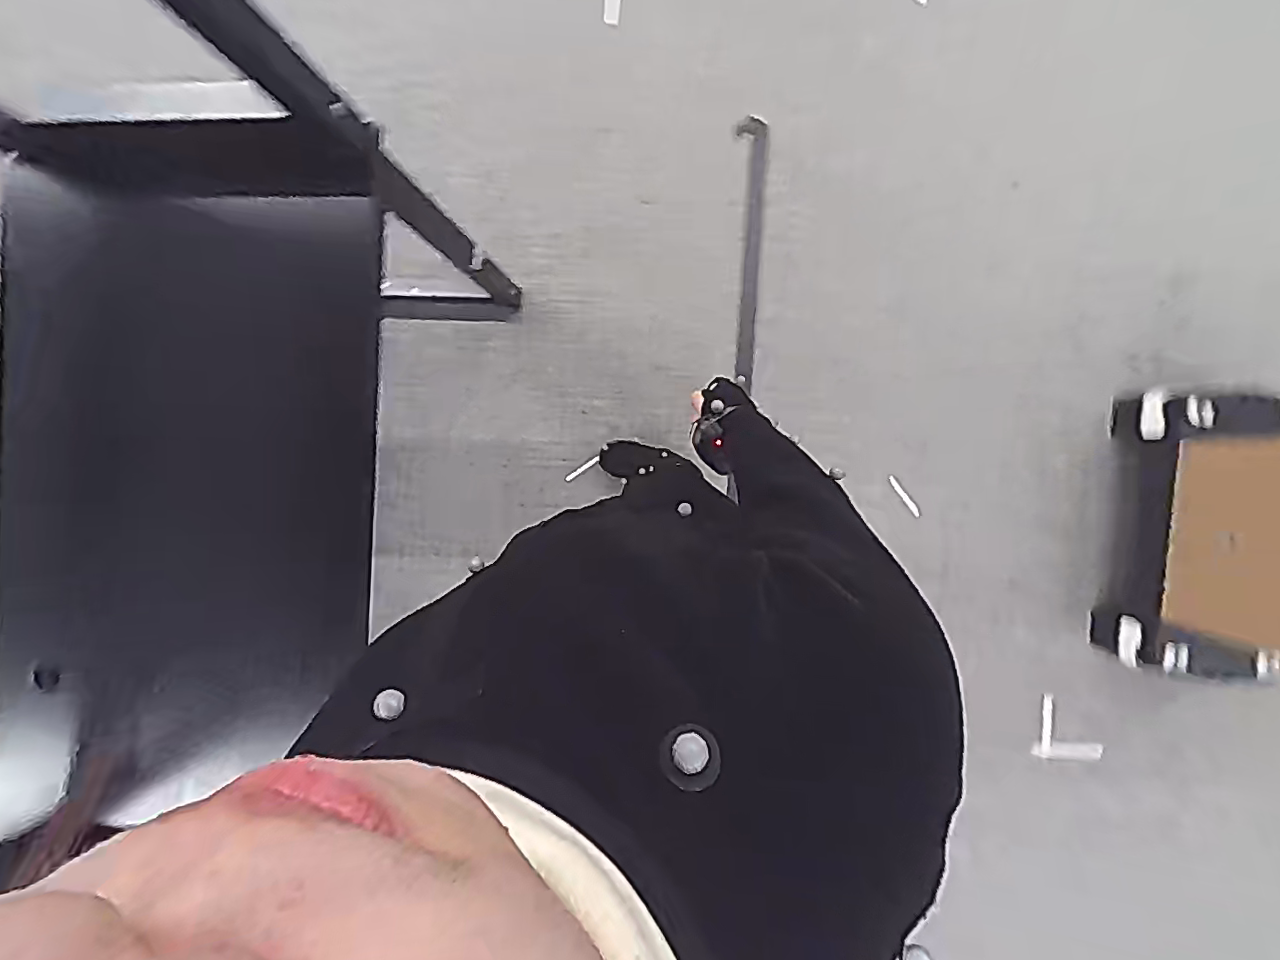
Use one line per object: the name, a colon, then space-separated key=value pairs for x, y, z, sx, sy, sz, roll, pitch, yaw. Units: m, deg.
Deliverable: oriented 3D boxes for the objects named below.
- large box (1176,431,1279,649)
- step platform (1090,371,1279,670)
large box: x=1.335 y=0.116 z=1.043 sx=0.320 sy=0.320 sz=0.408 roll=3 pitch=91 yaw=4
step platform: x=1.339 y=0.091 z=1.282 sx=0.286 sy=0.204 sz=0.684 roll=9 pitch=92 yaw=5
